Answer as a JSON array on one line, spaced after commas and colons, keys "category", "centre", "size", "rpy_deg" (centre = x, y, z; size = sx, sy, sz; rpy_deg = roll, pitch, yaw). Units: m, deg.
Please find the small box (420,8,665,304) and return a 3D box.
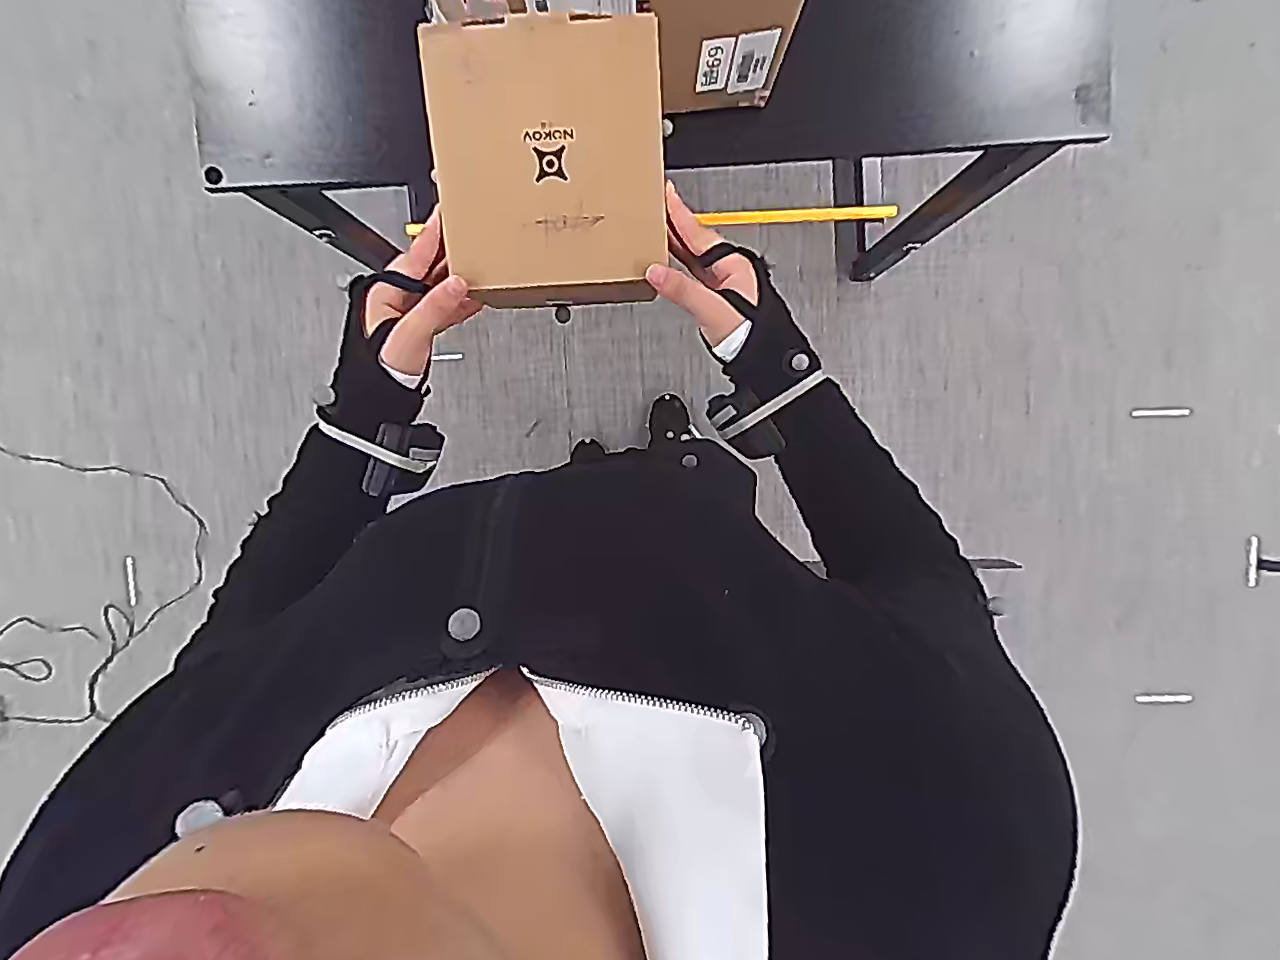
[{"category": "small box", "centre": [-0.069, -0.254, 0.466], "size": [0.168, 0.176, 0.179], "rpy_deg": [-4, 103, -1]}]
